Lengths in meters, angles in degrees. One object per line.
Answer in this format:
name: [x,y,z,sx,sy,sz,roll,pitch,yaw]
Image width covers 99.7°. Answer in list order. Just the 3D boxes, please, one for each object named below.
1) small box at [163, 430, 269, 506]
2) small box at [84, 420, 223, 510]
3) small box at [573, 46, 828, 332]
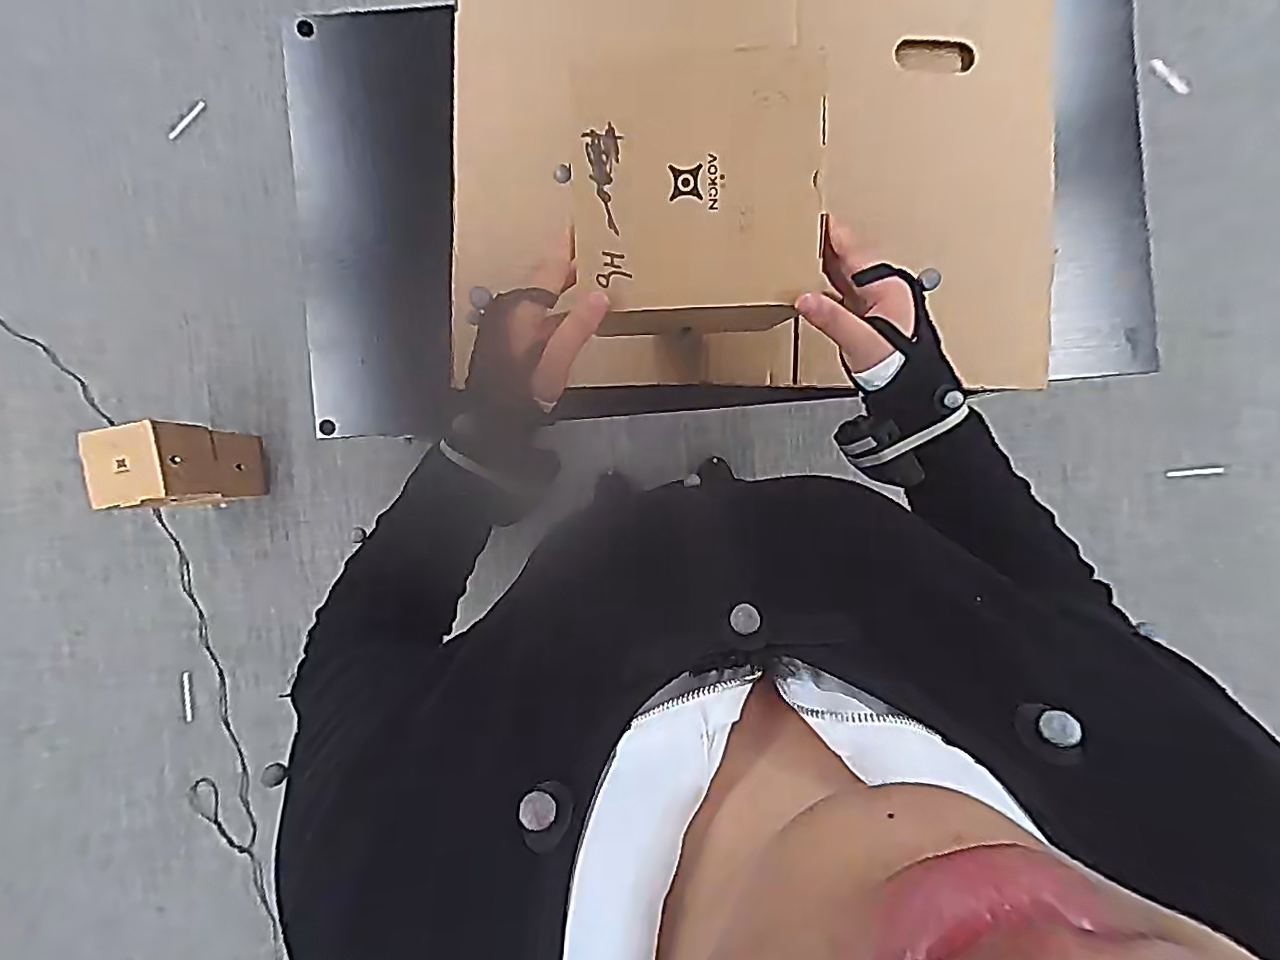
small box: [-1.127,-0.030,1.434,0.168,0.176,0.179,-9,91,1]
small box: [-1.130,-0.035,1.271,0.168,0.176,0.179,-11,90,0]
small box: [0.040,-0.220,0.452,0.179,0.176,0.168,-2,98,-1]
